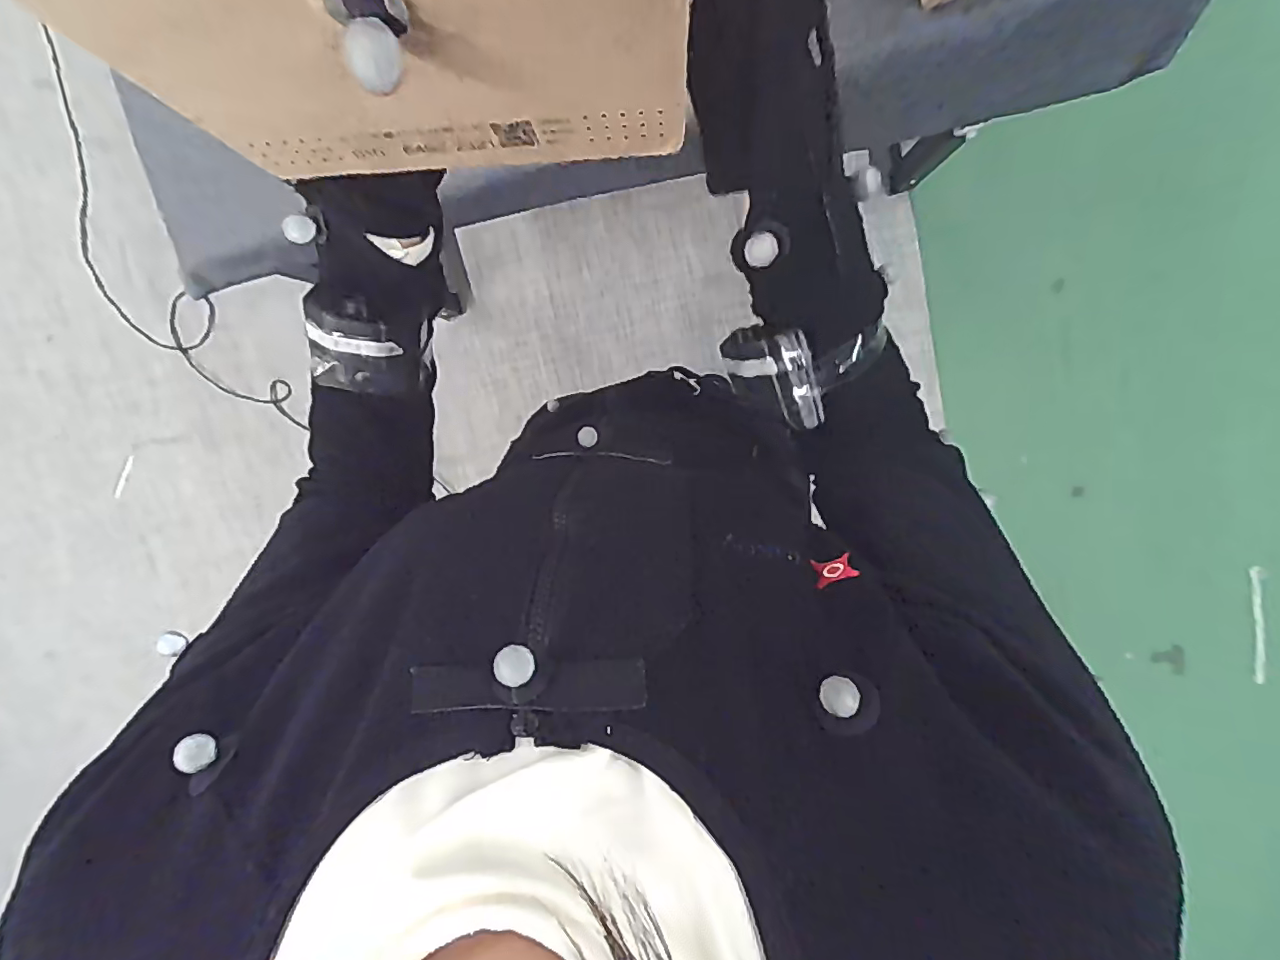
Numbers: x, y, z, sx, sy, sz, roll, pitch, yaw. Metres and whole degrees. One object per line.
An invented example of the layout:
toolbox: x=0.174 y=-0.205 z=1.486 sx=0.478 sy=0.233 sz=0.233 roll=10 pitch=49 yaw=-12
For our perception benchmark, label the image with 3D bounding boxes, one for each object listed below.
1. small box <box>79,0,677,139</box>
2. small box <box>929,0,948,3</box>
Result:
small box: x=-0.075 y=-0.211 z=0.132 sx=0.168 sy=0.176 sz=0.179 roll=-2 pitch=94 yaw=3
small box: x=0.341 y=-0.588 z=0.485 sx=0.168 sy=0.176 sz=0.179 roll=-17 pitch=96 yaw=7
